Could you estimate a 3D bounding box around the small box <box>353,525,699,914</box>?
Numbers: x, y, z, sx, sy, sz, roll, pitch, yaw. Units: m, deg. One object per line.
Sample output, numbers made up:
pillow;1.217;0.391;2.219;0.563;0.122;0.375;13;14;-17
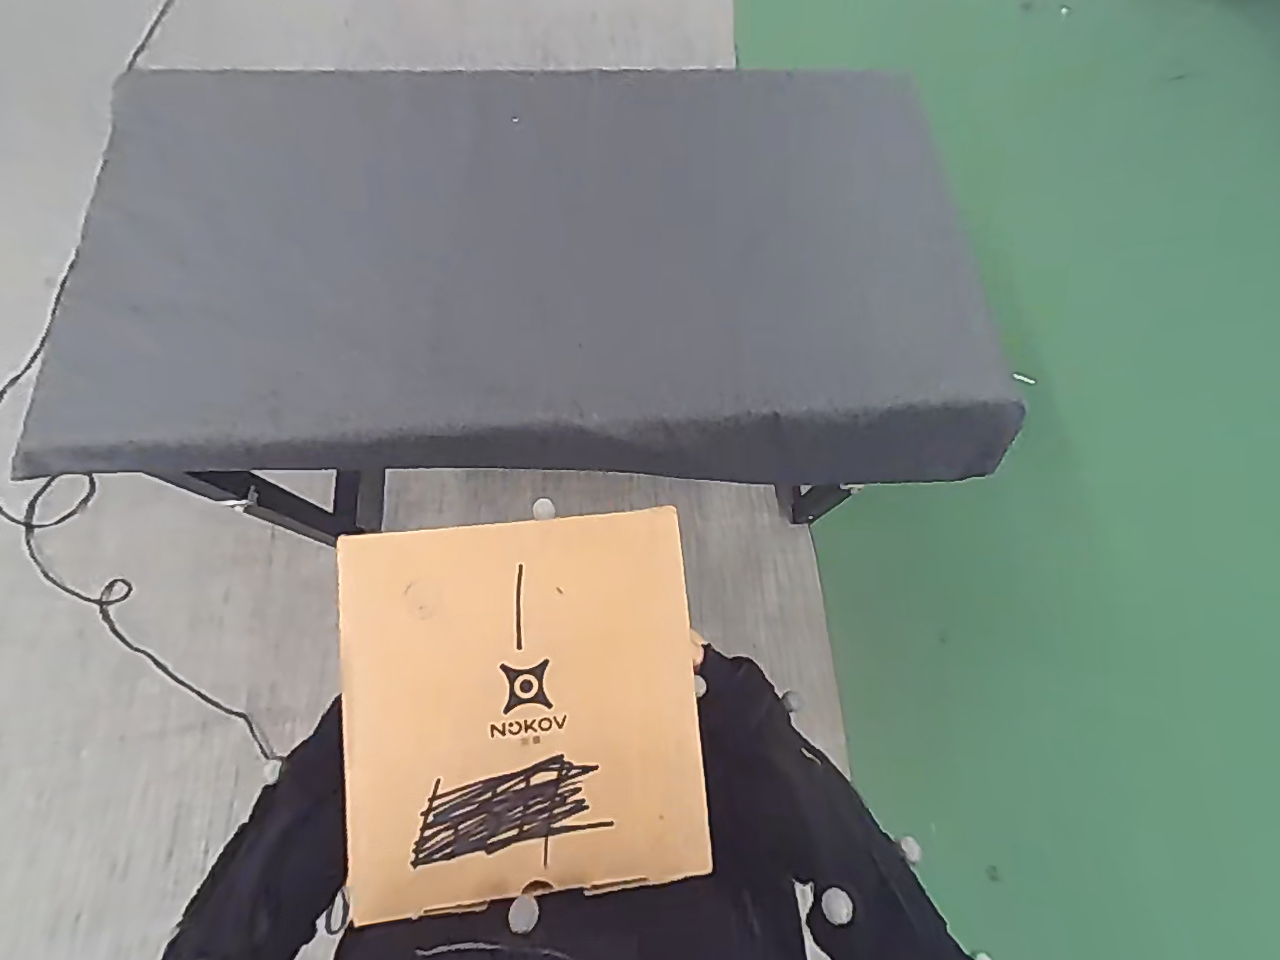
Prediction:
small box;-0.061;0.120;0.345;0.168;0.176;0.179;-3;84;-5
